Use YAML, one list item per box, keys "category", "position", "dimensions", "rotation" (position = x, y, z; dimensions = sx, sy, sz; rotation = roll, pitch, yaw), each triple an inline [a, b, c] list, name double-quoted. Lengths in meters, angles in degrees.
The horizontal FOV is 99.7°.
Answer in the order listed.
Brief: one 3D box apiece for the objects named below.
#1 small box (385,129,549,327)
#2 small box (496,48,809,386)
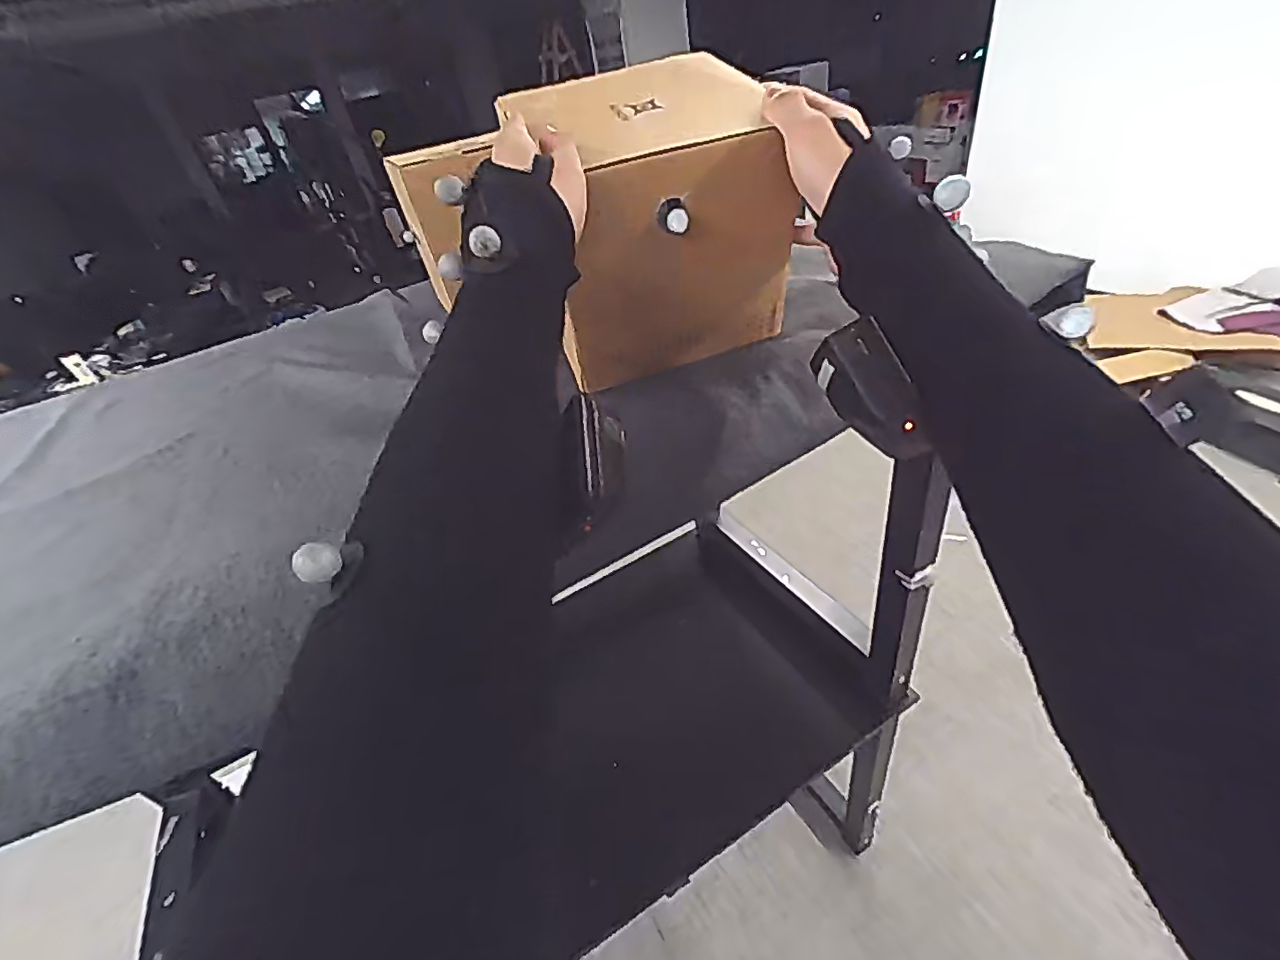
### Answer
- category: "small box"
  position: [-0.173, -0.295, 0.630]
  dimensions: [0.168, 0.176, 0.179]
  rotation: [-24, 38, -15]
- category: "small box"
  position: [0.006, -0.205, 0.430]
  dimensions: [0.179, 0.176, 0.168]
  rotation: [-19, 52, -7]
